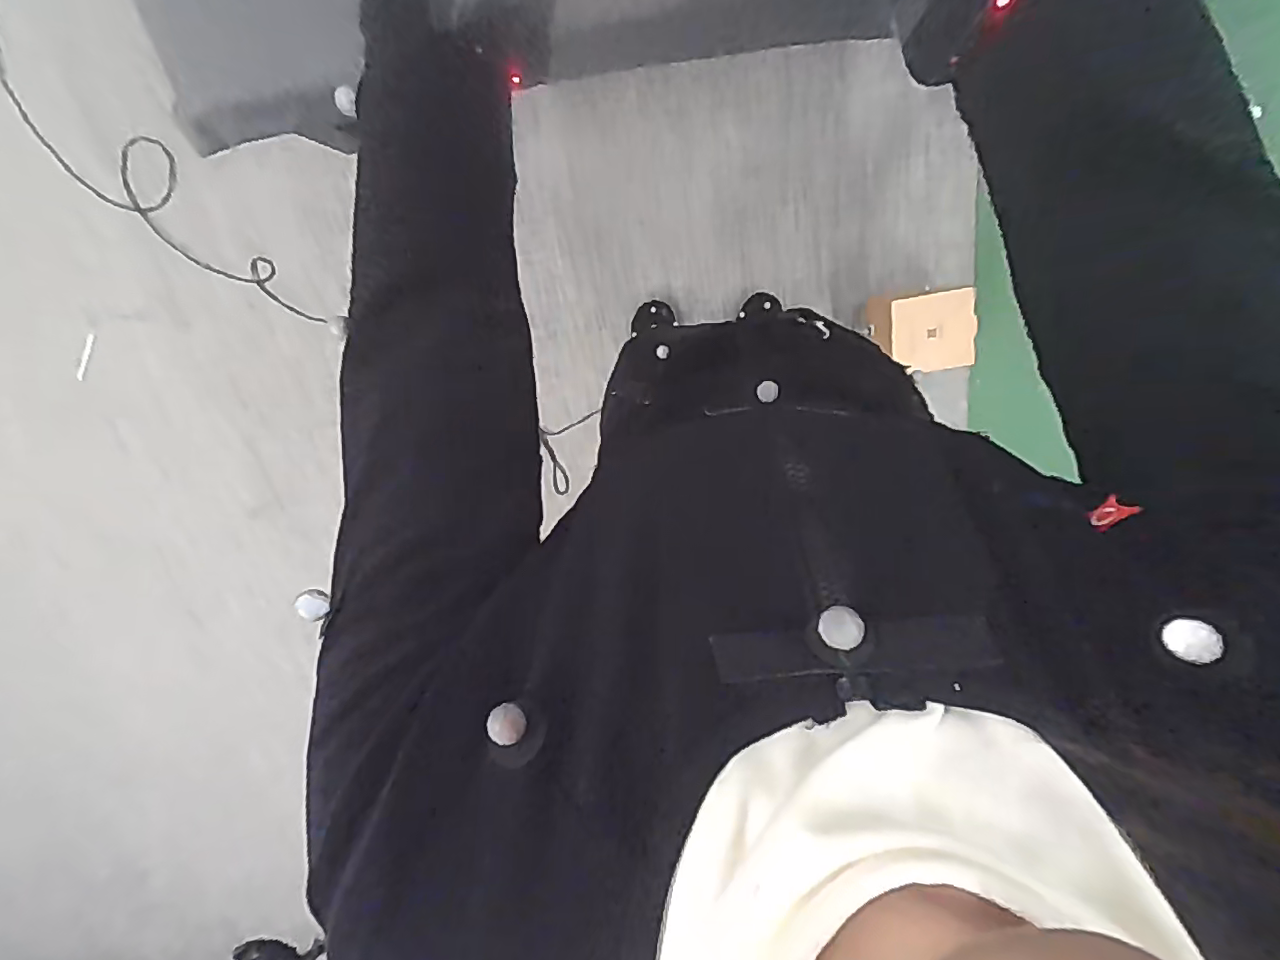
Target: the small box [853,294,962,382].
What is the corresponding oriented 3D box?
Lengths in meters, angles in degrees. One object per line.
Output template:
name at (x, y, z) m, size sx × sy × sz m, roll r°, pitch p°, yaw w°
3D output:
small box at (0.611, -0.333, 1.249) m, size 0.179 × 0.176 × 0.168 m, roll -8°, pitch 108°, yaw 6°
